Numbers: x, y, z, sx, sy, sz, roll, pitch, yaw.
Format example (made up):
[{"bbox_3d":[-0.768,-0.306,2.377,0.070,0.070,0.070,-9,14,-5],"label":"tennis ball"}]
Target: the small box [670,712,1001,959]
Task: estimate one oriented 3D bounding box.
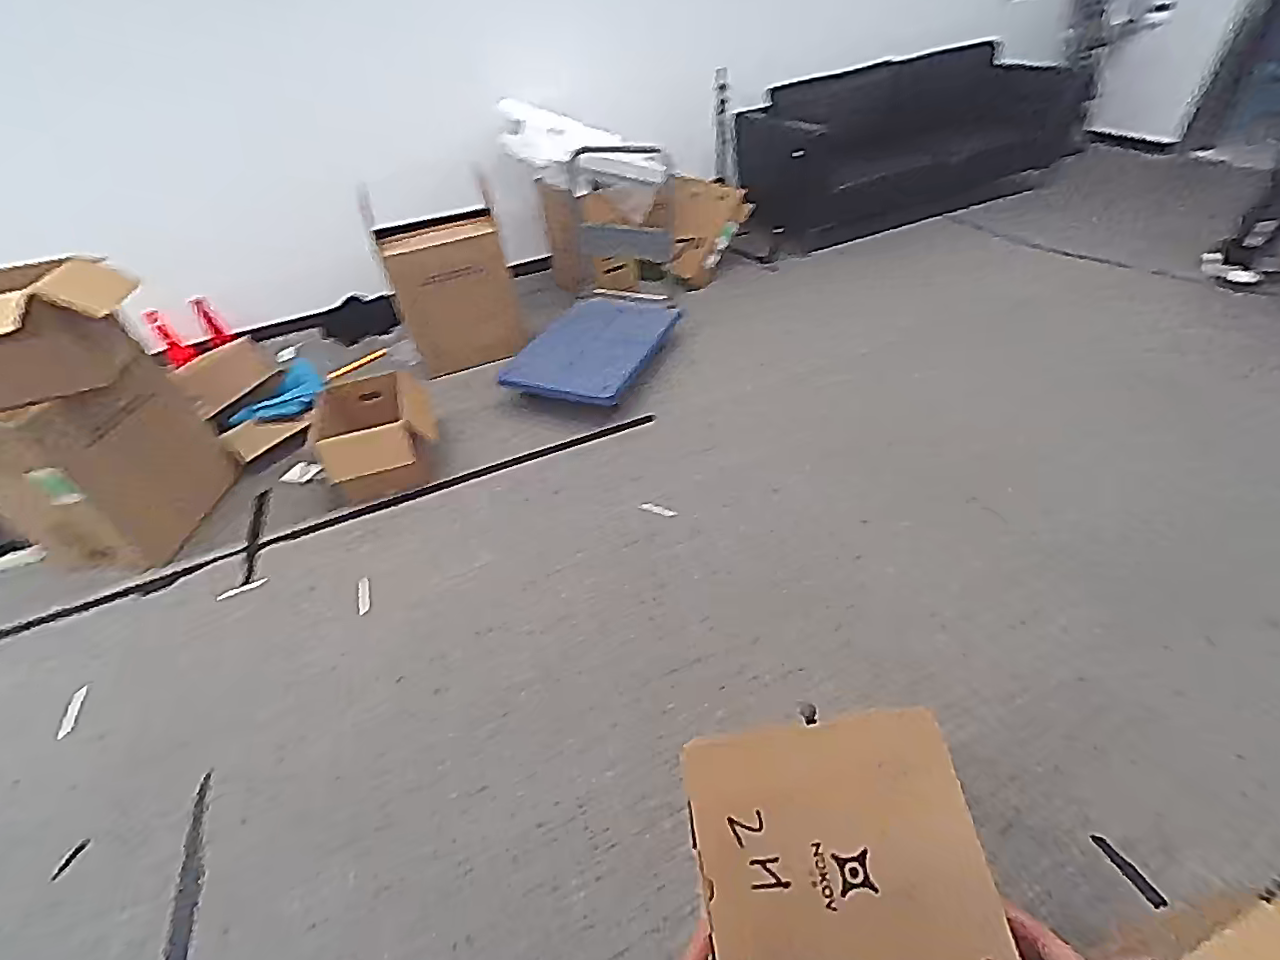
[{"bbox_3d":[0.127,0.272,0.403,0.179,0.176,0.168,-11,62,8],"label":"small box"}]
